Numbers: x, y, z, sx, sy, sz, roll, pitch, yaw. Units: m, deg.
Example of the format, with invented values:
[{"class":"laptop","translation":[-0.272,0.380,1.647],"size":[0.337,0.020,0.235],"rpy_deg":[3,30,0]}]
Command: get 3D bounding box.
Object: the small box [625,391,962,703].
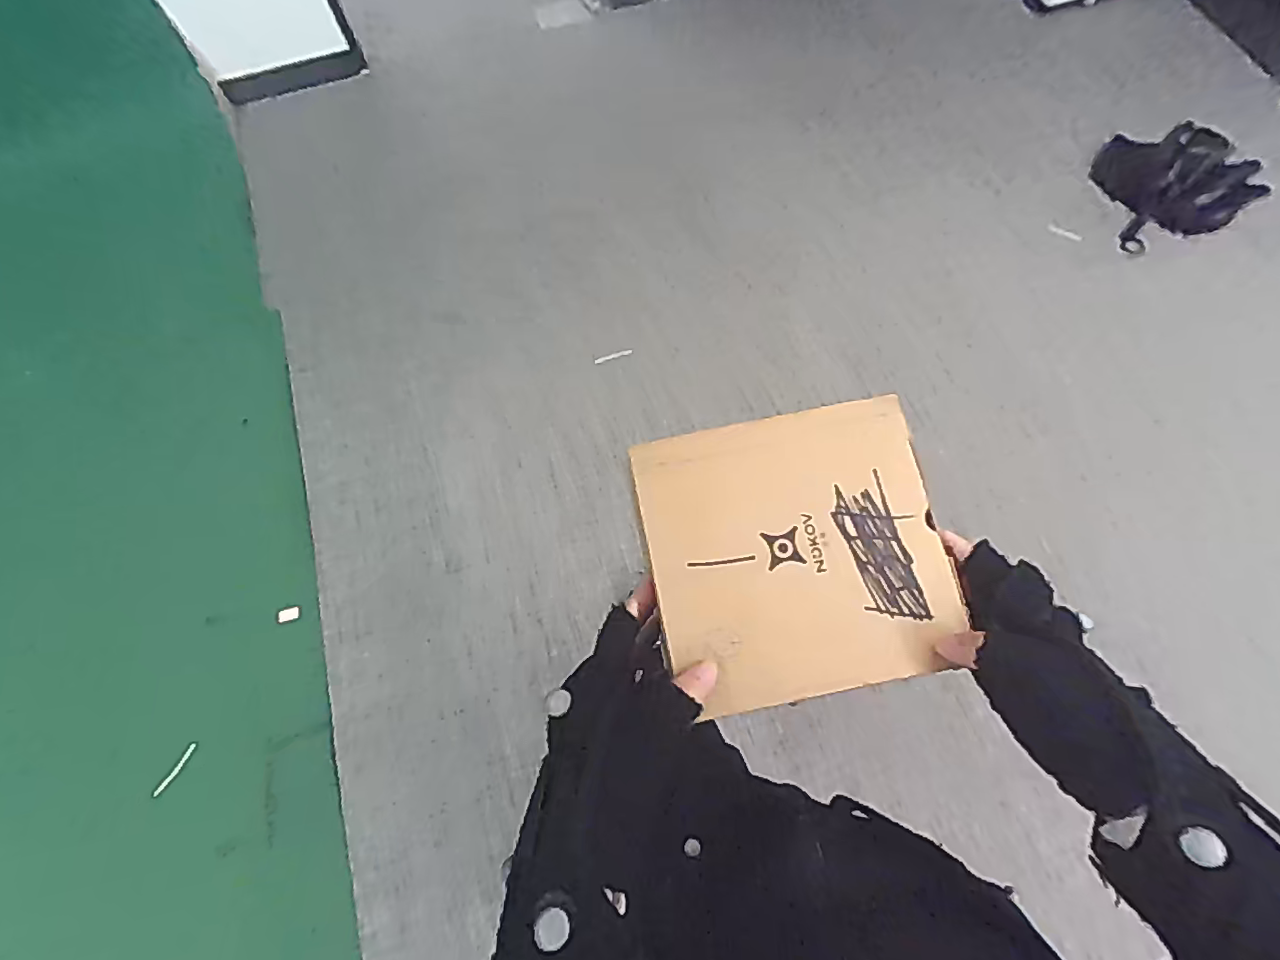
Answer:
[{"class":"small box","translation":[0.089,0.053,0.404],"size":[0.179,0.176,0.168],"rpy_deg":[-11,76,-2]}]
